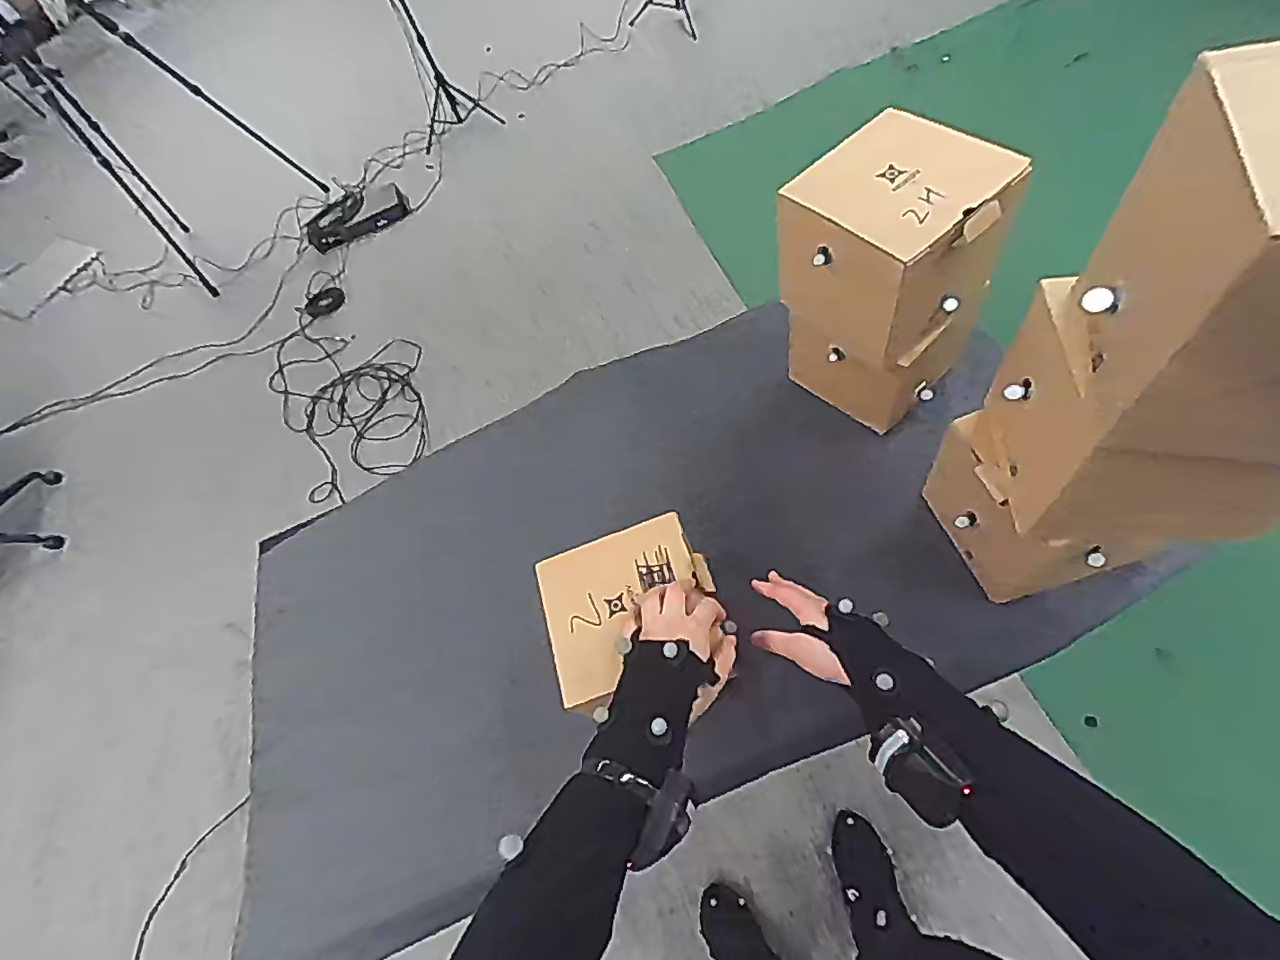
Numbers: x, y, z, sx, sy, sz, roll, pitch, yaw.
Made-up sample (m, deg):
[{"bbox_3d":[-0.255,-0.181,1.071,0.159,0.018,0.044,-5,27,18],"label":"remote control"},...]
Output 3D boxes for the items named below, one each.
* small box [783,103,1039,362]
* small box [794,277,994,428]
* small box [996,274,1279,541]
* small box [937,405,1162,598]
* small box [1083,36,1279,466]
[{"bbox_3d":[0.280,-0.268,0.607,0.168,0.176,0.179,-38,62,-4],"label":"small box"},{"bbox_3d":[0.332,-0.203,0.750,0.168,0.176,0.179,-44,62,-7],"label":"small box"},{"bbox_3d":[0.427,-0.055,0.455,0.179,0.176,0.168,-1,60,15],"label":"small box"},{"bbox_3d":[0.458,0.013,0.600,0.179,0.176,0.168,-20,57,5],"label":"small box"},{"bbox_3d":[0.394,-0.117,0.303,0.179,0.176,0.168,8,63,20],"label":"small box"}]
